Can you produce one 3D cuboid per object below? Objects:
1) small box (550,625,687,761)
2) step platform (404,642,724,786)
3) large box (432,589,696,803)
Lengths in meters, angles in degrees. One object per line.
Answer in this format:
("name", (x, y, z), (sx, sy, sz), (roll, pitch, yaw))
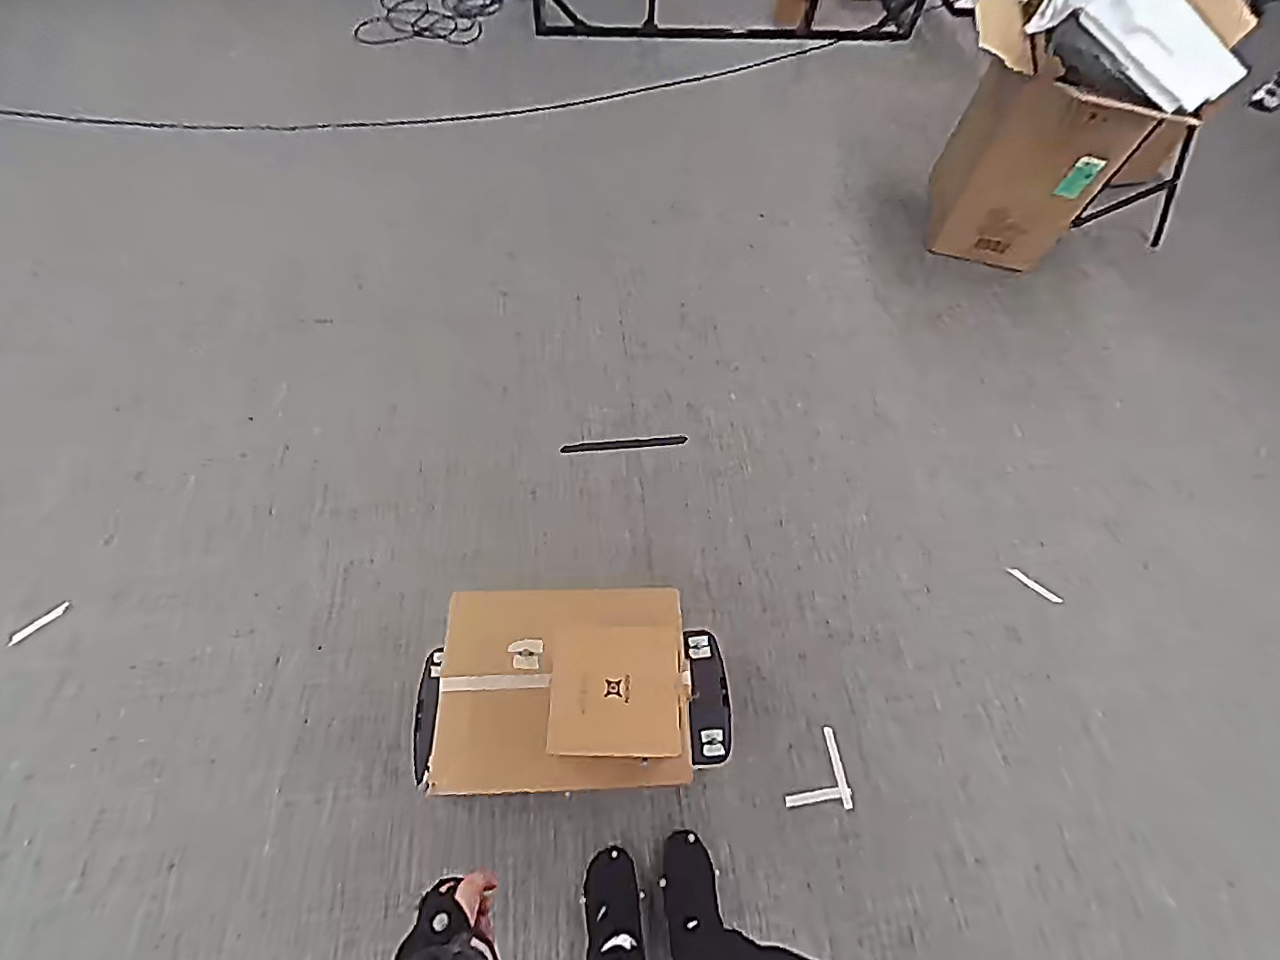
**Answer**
("small box", (-0.030, 0.312, 0.787), (0.179, 0.176, 0.168), (2, 63, -2))
("step platform", (-0.156, 0.524, 1.215), (0.684, 0.204, 0.286), (1, 62, -2))
("large box", (-0.124, 0.403, 1.011), (0.408, 0.320, 0.320), (-1, 62, -3))
